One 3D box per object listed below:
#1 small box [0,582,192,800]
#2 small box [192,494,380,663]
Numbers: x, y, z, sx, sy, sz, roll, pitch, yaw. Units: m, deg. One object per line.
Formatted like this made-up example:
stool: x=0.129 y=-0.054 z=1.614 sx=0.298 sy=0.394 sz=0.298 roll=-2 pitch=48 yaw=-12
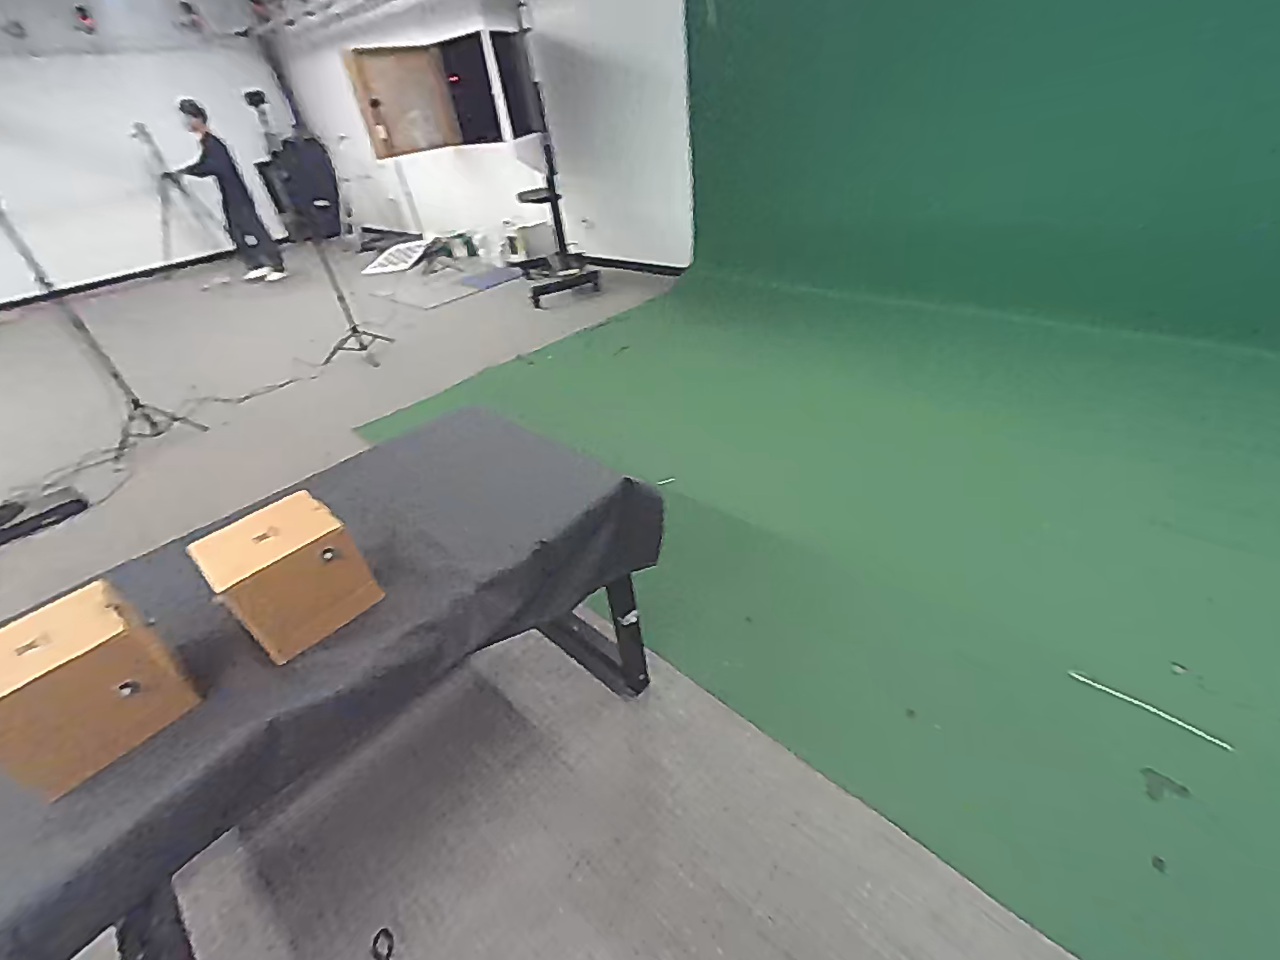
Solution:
small box: x=-0.756 y=0.279 z=0.732 sx=0.168 sy=0.176 sz=0.179 roll=20 pitch=44 yaw=35
small box: x=-0.559 y=0.156 z=0.870 sx=0.168 sy=0.176 sz=0.179 roll=22 pitch=44 yaw=36
